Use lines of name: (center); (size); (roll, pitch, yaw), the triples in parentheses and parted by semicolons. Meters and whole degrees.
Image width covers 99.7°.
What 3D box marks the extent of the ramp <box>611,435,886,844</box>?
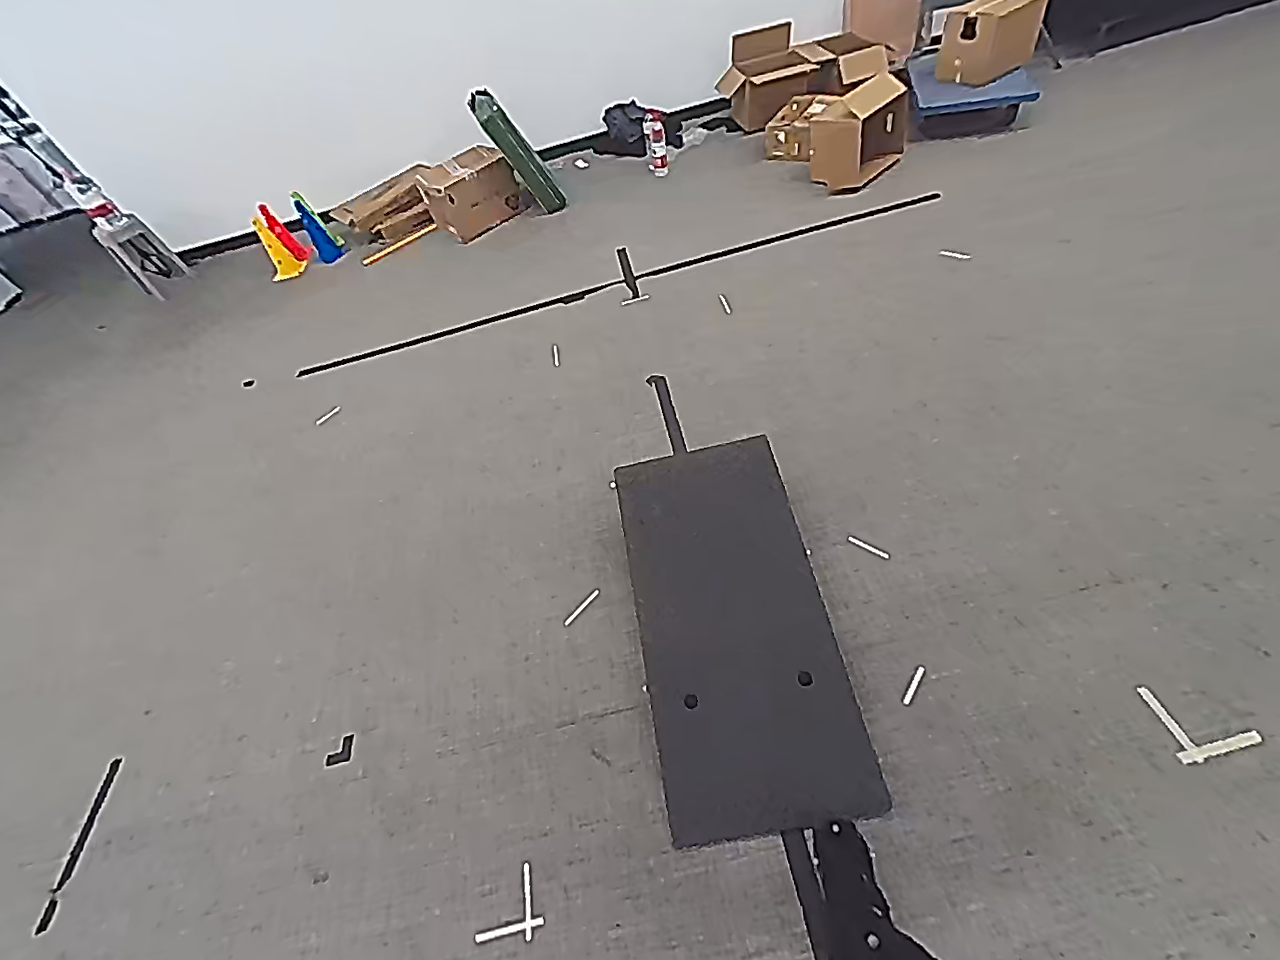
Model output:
ramp: (0.229, 0.340, 1.442); (0.509, 0.206, 0.991); (-14, 50, 1)
